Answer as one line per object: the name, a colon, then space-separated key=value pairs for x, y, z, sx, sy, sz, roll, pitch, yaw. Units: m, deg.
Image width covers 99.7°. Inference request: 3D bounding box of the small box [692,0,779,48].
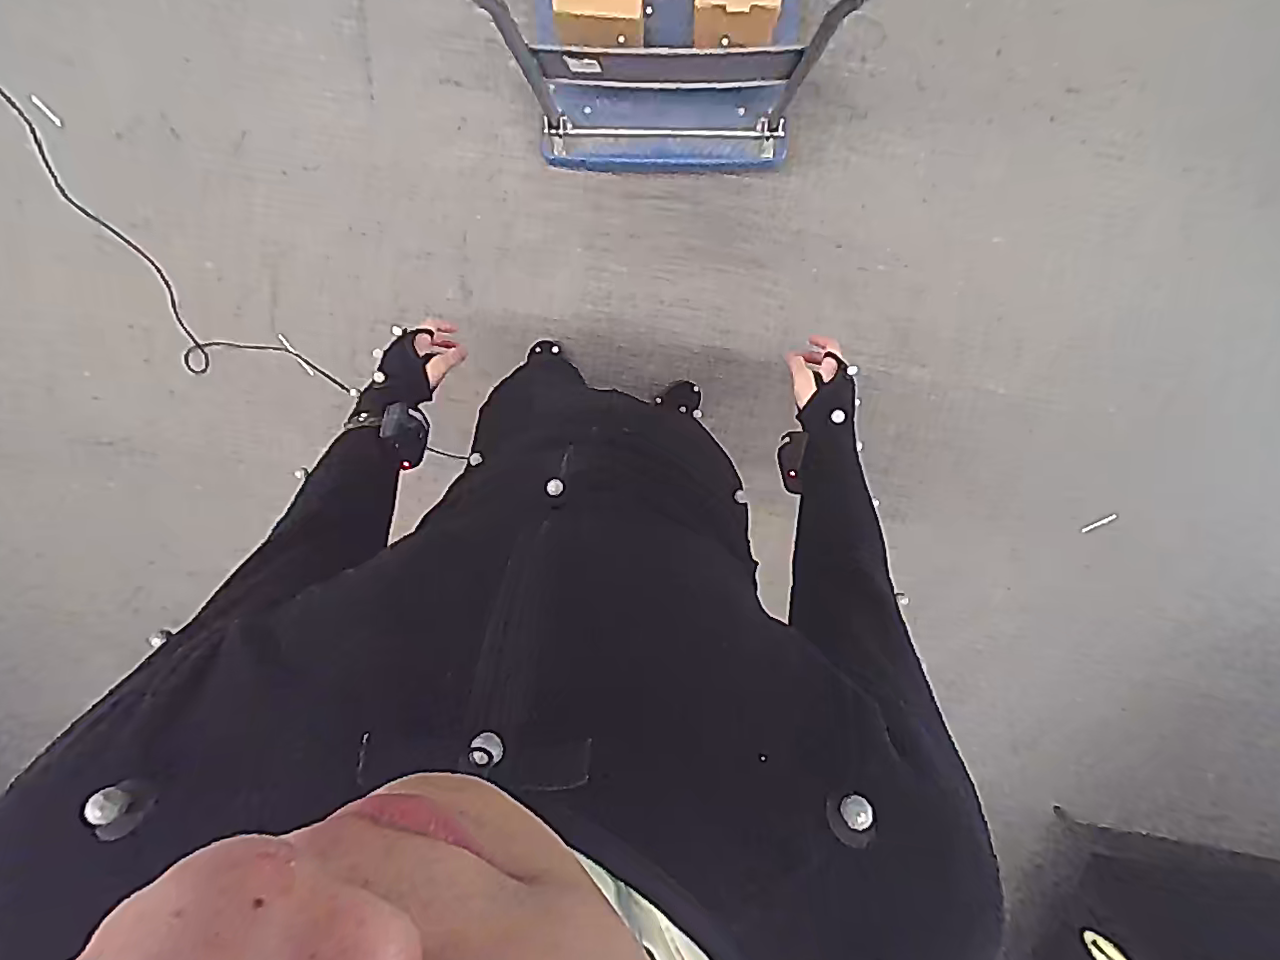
small box: x=0.195 y=-1.033 z=1.107 sx=0.168 sy=0.176 sz=0.179 roll=3 pitch=105 yaw=2
